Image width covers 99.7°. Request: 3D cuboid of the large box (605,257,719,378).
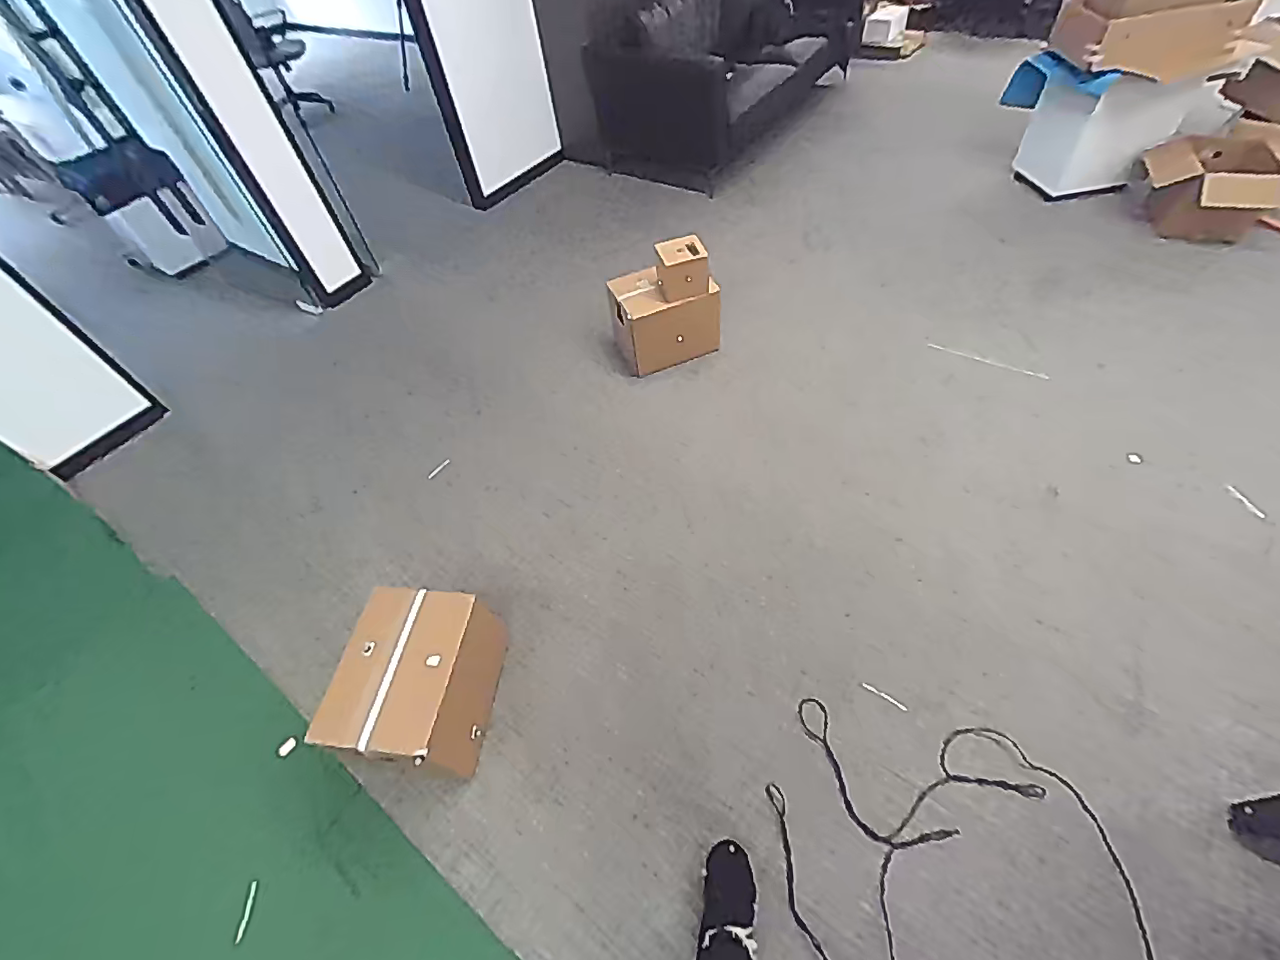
[{"bbox_3d":[0.103,-0.715,2.383,0.408,0.320,0.320,-22,52,-9],"label":"large box"}]
